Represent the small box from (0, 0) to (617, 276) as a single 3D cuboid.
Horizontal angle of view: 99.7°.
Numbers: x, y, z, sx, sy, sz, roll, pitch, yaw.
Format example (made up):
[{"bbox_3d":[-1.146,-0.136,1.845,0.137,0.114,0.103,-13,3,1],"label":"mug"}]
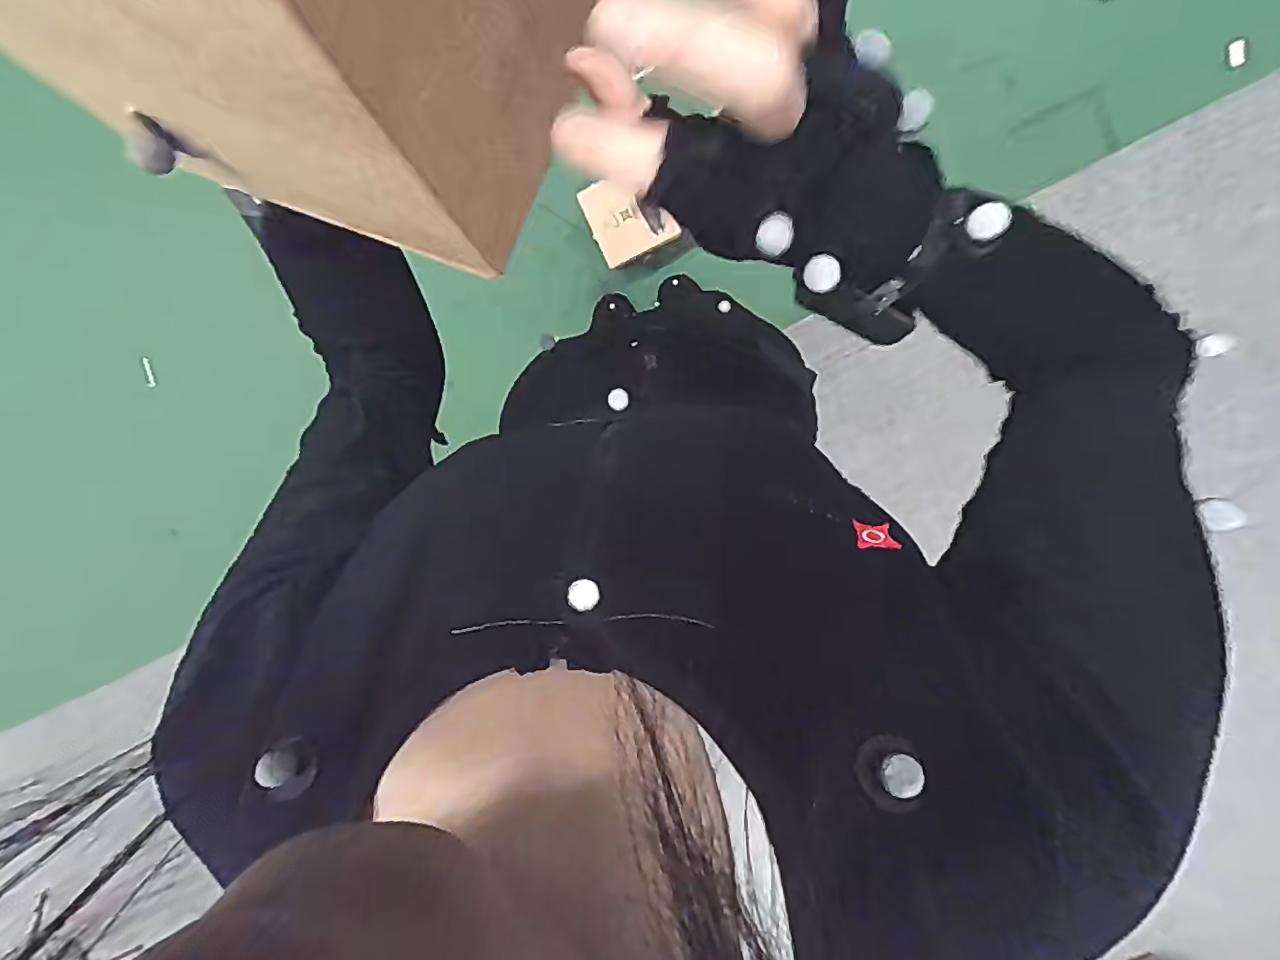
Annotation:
[{"bbox_3d":[-0.114,-0.194,0.159,0.179,0.176,0.168,20,90,7],"label":"small box"}]
